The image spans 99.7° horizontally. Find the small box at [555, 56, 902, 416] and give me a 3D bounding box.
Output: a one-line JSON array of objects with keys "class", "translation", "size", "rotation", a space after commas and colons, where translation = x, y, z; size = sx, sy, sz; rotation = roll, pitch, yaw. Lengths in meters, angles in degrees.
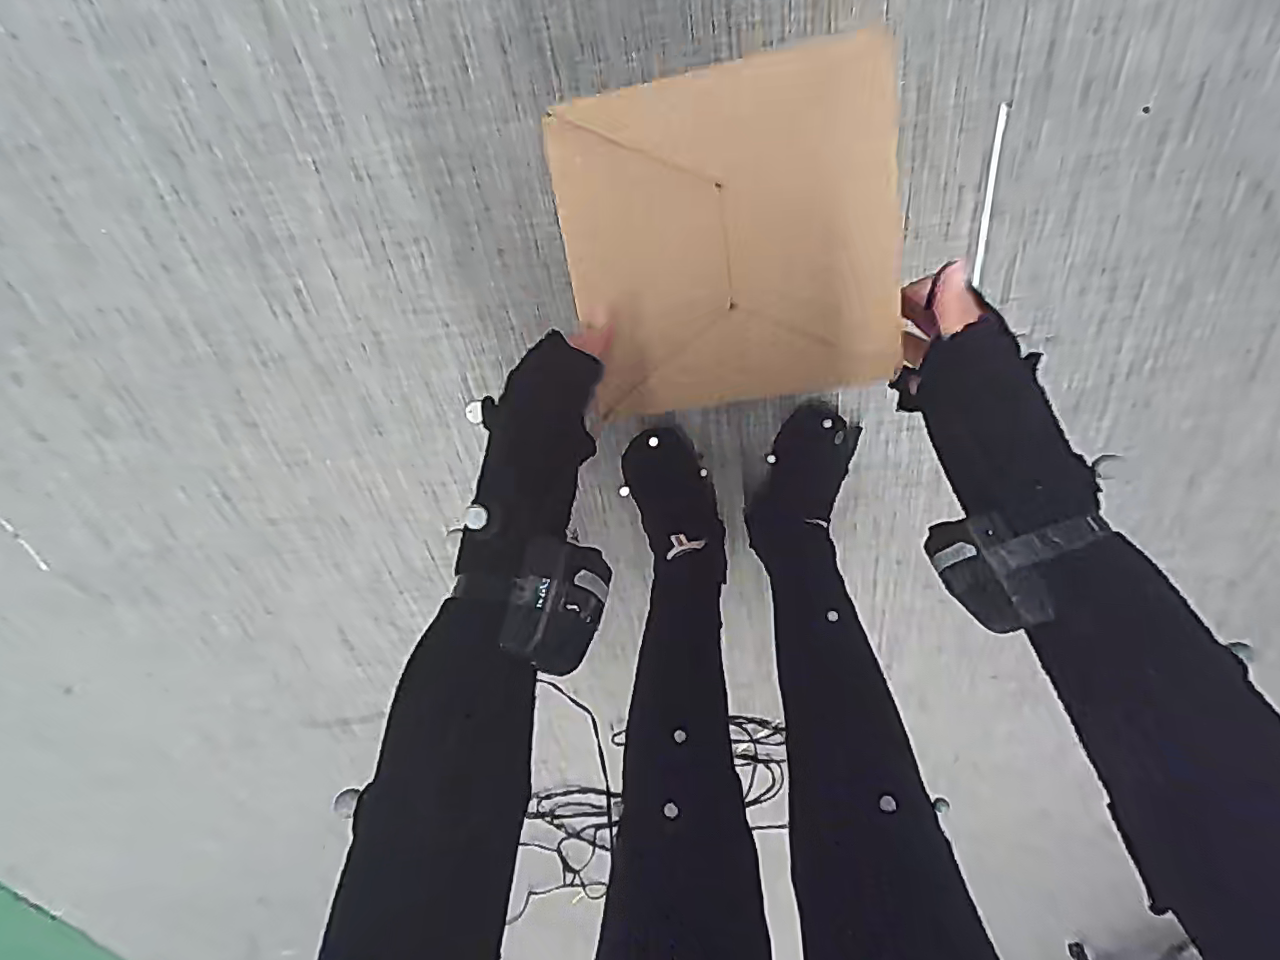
[{"class": "small box", "translation": [0.055, -0.146, 0.364], "size": [0.179, 0.176, 0.168], "rotation": [-6, 109, 10]}]
